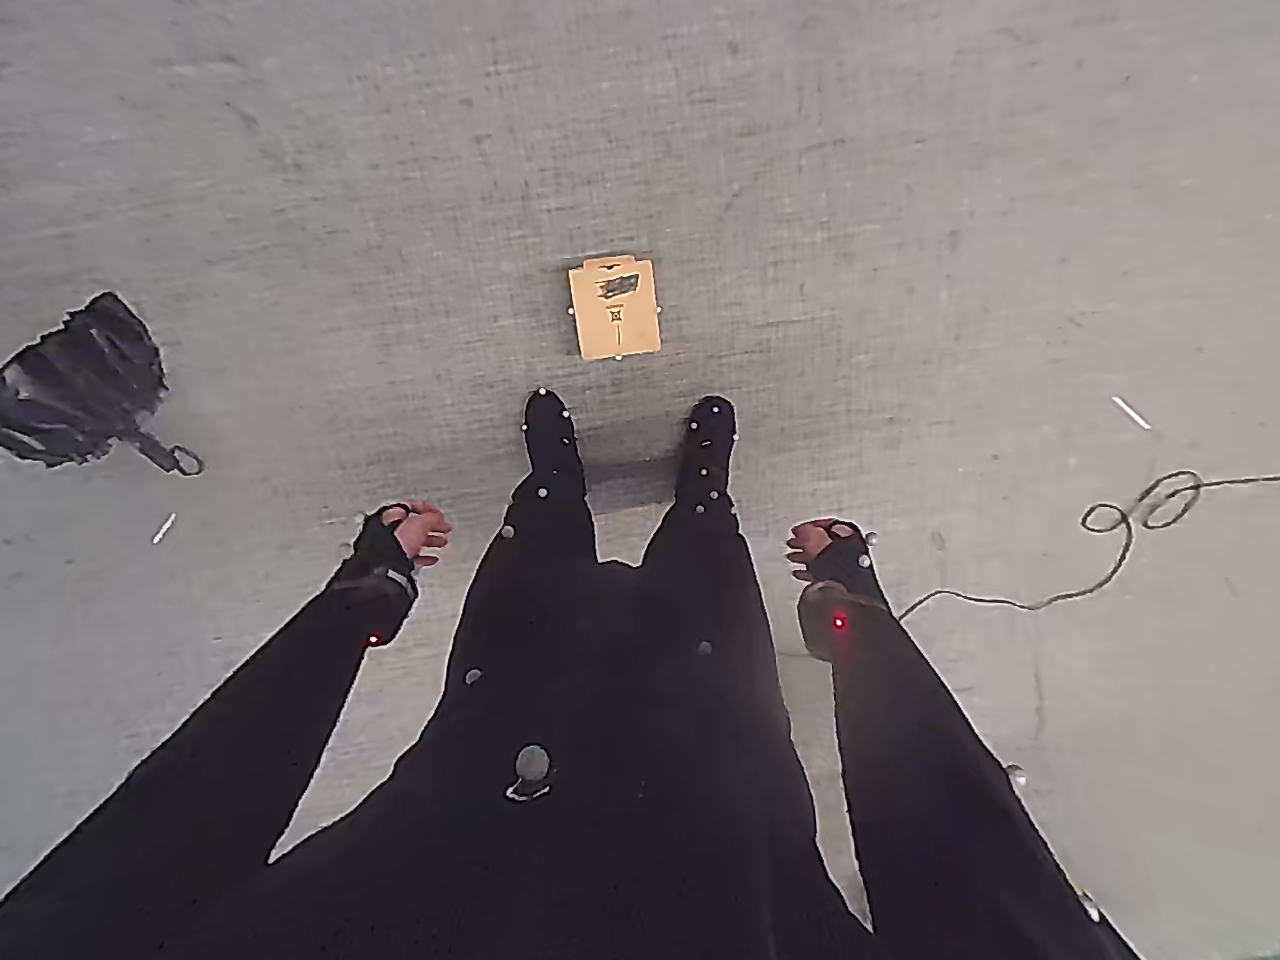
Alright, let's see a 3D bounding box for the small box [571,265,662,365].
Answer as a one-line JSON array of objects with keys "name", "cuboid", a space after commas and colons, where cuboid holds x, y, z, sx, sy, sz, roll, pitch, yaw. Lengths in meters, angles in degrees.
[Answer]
[{"name": "small box", "cuboid": [-0.049, -0.349, 1.153, 0.168, 0.176, 0.179, -8, 107, 0]}]
